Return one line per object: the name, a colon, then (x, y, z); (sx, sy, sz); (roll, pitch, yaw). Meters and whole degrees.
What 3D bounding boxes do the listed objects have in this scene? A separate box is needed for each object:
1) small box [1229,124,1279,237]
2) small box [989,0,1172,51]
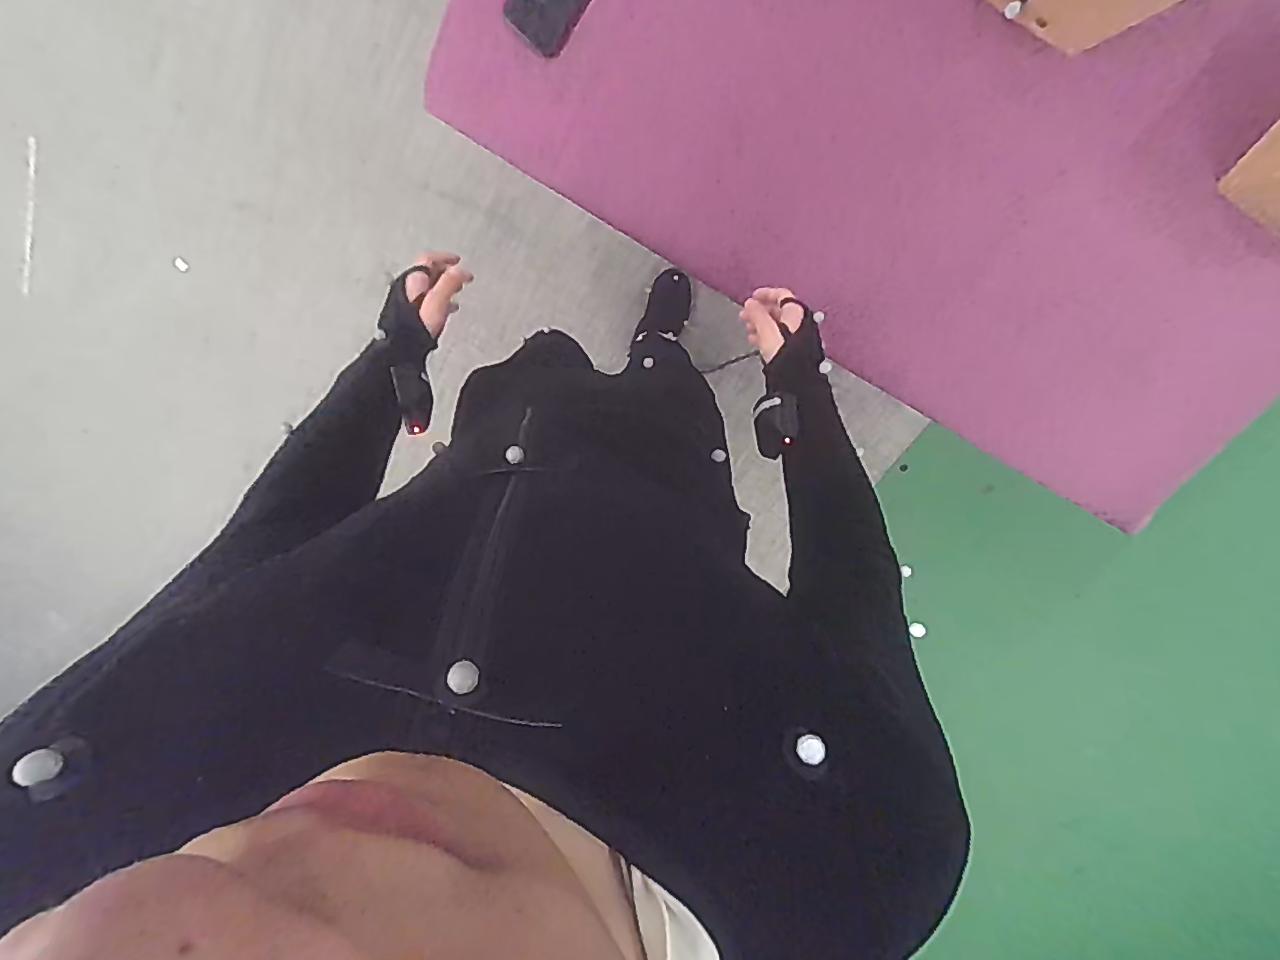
small box: (0.806, -0.350, 0.559); (0.168, 0.176, 0.179); (32, 112, -6)
small box: (0.459, -0.565, 0.510); (0.168, 0.176, 0.179); (28, 113, -5)
